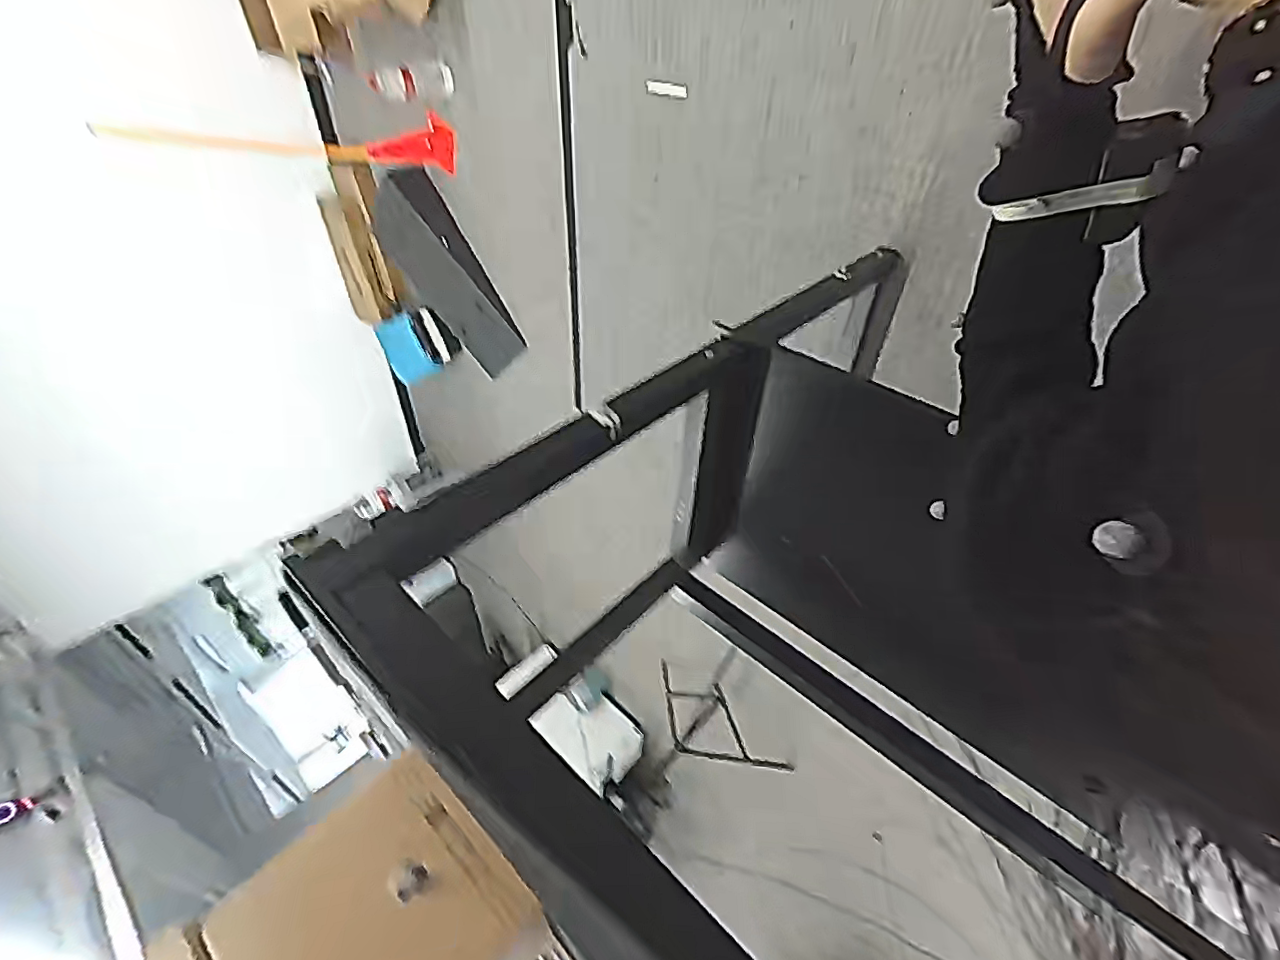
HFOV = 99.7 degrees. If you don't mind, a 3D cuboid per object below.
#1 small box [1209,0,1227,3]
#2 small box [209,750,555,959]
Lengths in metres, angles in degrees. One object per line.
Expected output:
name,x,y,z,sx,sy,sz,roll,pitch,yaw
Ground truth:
small box,0.259,-0.301,0.163,0.168,0.176,0.179,-18,112,47
small box,-0.183,0.363,0.434,0.168,0.176,0.179,32,140,27
